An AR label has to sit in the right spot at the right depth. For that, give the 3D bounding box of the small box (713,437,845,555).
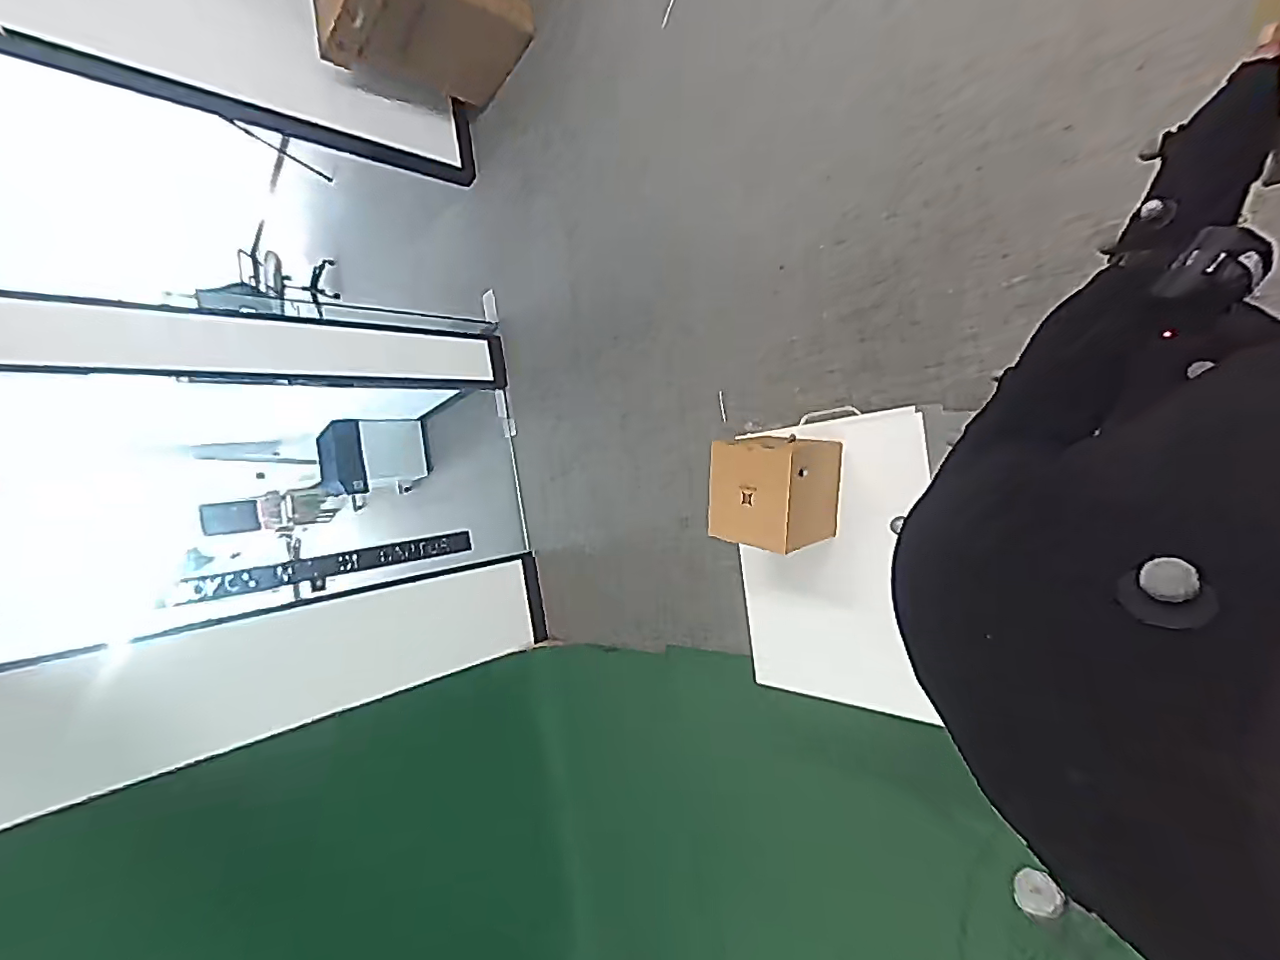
[{"bbox_3d":[0.249,0.018,0.969,0.168,0.176,0.179,11,103,47],"label":"small box"}]
